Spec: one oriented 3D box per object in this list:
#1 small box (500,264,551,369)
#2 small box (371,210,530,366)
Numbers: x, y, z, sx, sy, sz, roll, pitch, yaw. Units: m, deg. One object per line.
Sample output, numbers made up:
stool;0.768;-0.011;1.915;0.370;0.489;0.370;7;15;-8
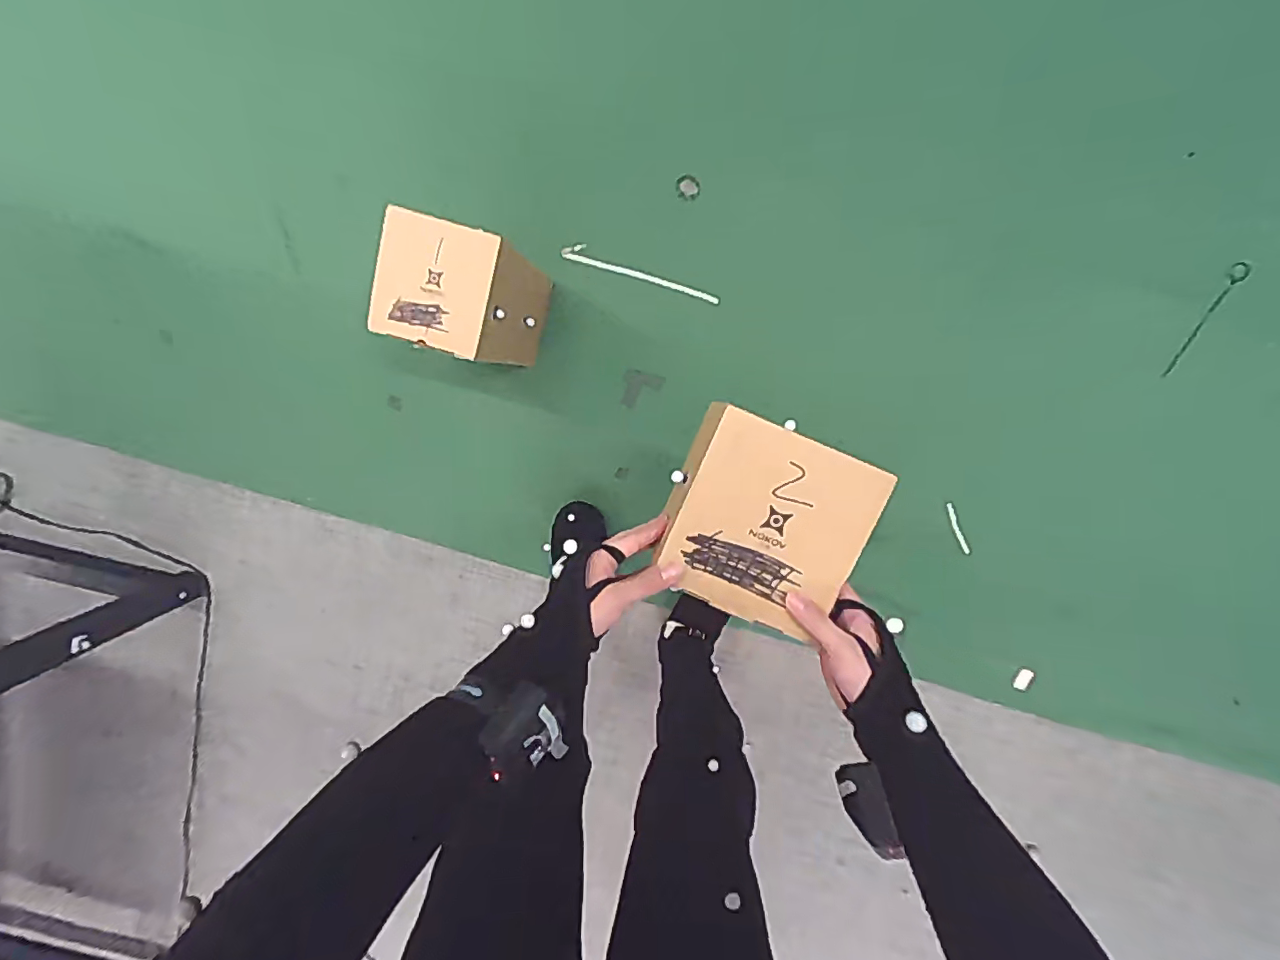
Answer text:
small box;-0.272;-0.312;0.997;0.168;0.176;0.179;17;102;0
small box;-0.282;-0.282;0.836;0.168;0.176;0.179;16;101;0
